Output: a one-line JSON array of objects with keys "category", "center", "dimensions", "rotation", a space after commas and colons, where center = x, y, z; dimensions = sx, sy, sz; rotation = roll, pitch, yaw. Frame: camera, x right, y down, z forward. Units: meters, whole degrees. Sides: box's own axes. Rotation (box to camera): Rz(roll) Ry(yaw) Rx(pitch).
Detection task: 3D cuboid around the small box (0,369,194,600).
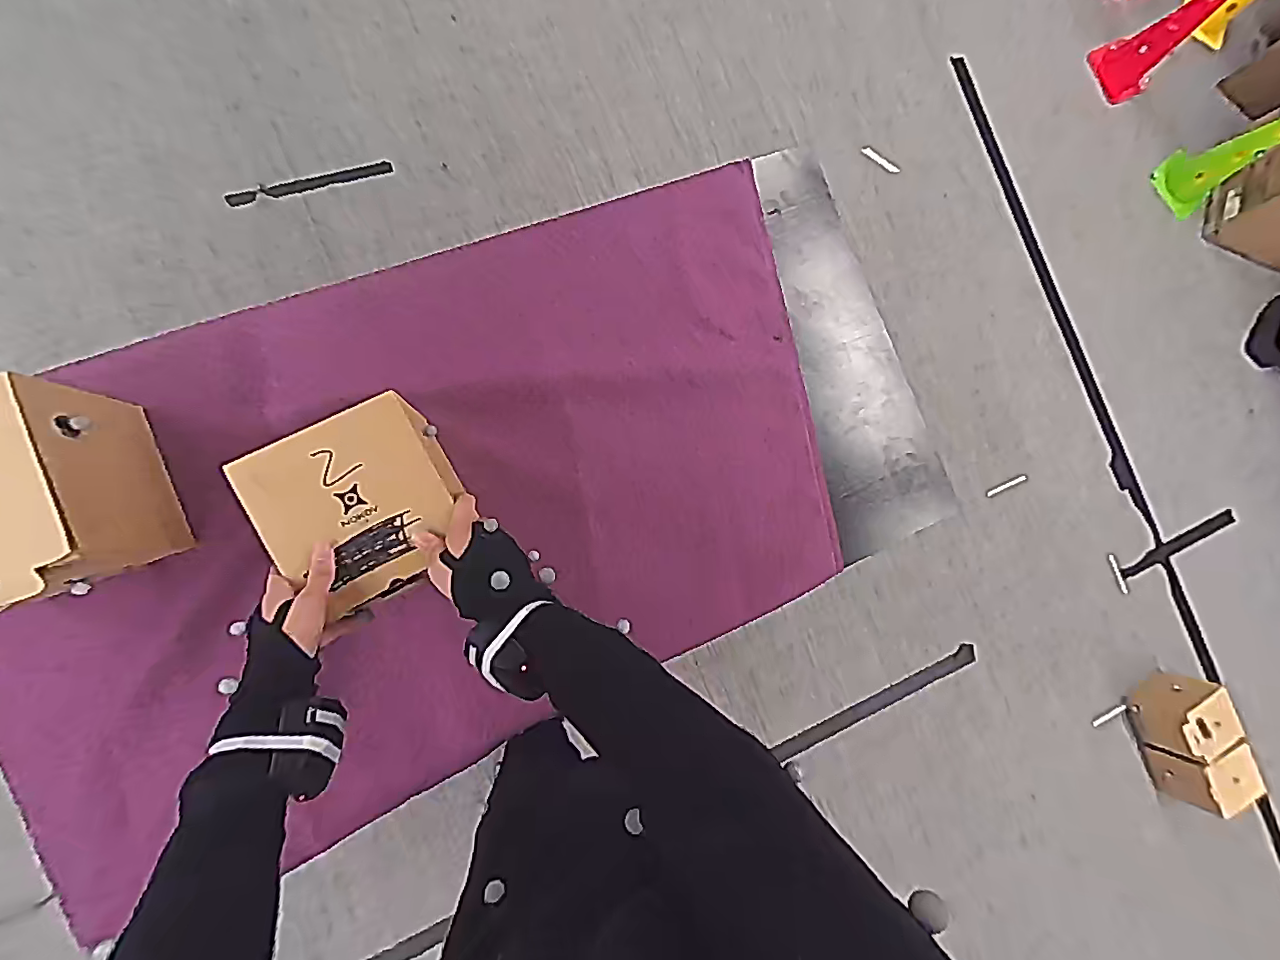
[{"category": "small box", "center": [-0.599, 0.015, 0.532], "dimensions": [0.168, 0.176, 0.179], "rotation": [-20, 91, -11]}]
